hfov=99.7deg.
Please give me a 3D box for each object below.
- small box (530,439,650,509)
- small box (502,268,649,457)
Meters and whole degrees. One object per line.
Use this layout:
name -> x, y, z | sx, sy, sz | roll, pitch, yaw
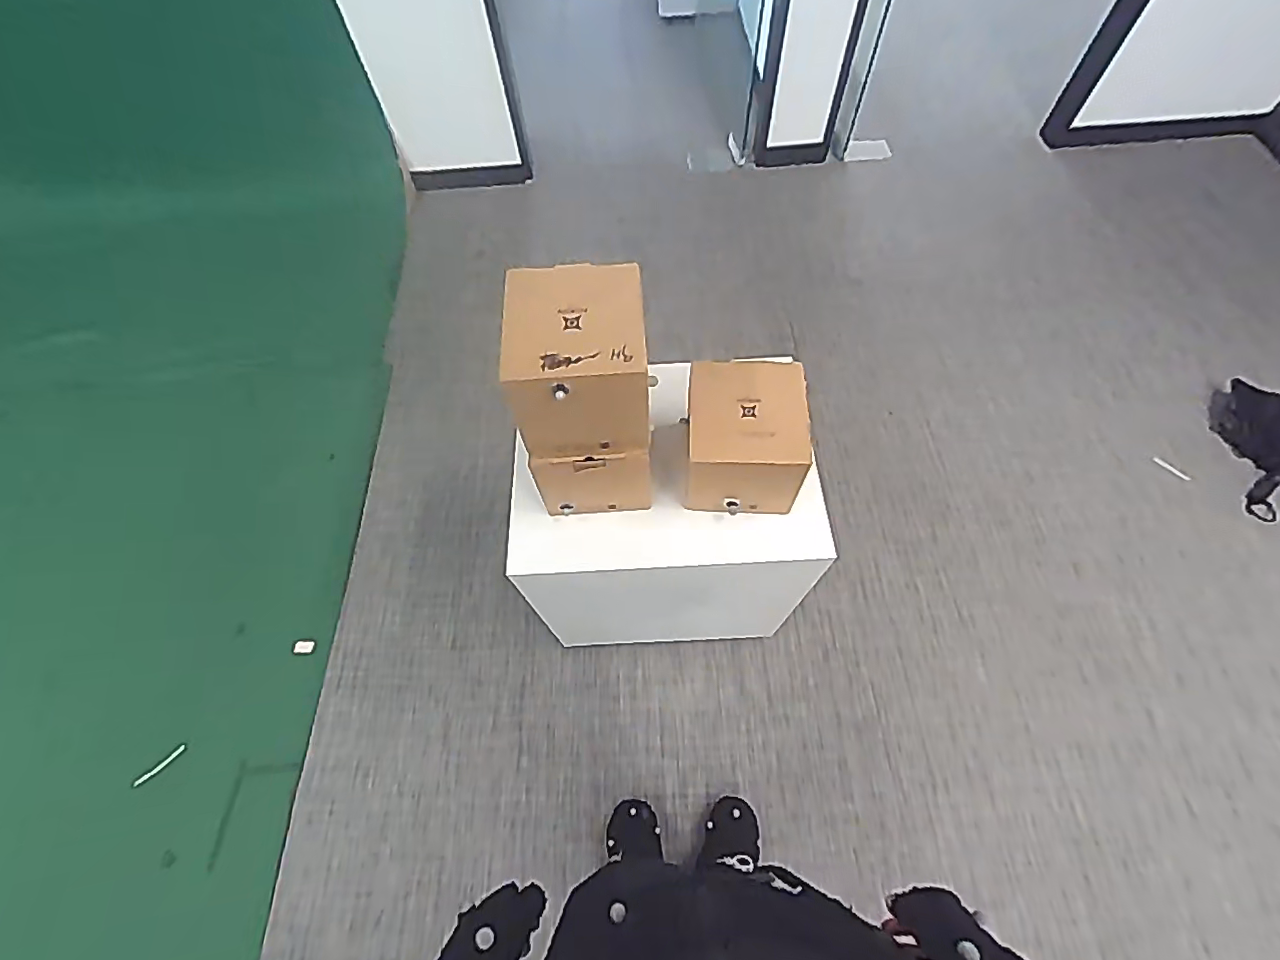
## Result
small box -> -0.071, -0.063, 0.851 | 0.168, 0.176, 0.179 | -4, 61, 0
small box -> -0.075, -0.150, 0.712 | 0.168, 0.176, 0.179 | -4, 61, 0
